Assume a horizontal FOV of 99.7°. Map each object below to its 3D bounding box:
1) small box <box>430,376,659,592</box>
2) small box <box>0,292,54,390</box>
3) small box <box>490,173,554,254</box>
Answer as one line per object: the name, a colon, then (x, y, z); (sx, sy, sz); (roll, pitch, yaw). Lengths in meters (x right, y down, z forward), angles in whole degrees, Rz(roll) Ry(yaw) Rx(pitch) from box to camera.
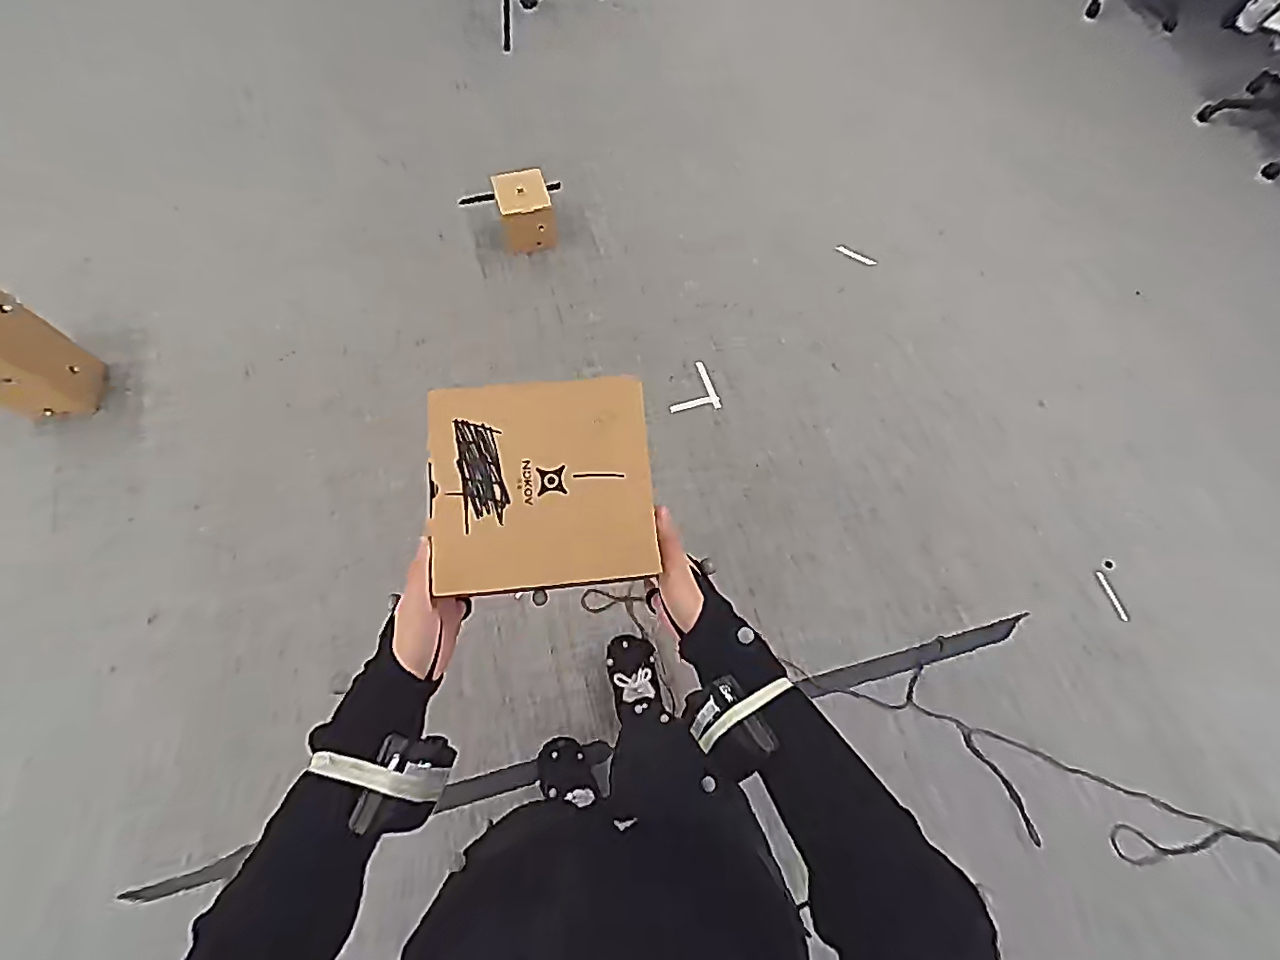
small box: (-0.080, 0.015, 0.507); (0.179, 0.176, 0.168); (-5, 79, -4)
small box: (-1.613, -0.340, 1.326); (0.168, 0.176, 0.179); (-10, 70, -7)
small box: (-0.391, -0.885, 1.812); (0.168, 0.176, 0.179); (-16, 69, -11)
